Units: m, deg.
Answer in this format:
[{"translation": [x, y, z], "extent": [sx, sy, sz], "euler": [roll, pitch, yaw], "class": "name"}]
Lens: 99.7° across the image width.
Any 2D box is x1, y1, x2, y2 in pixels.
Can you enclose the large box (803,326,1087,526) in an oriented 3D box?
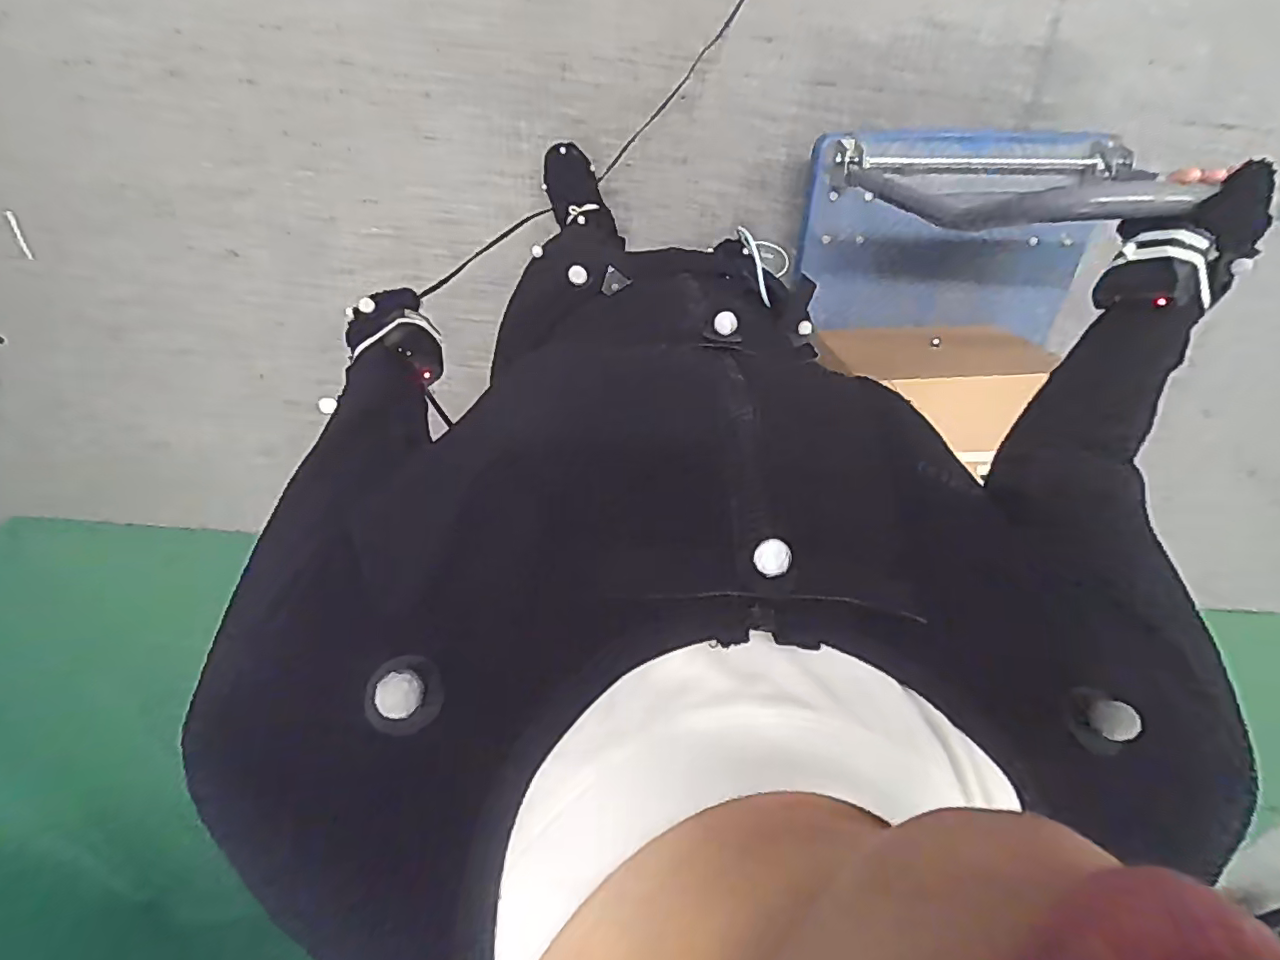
[{"translation": [0.592, -0.126, 1.149], "extent": [0.408, 0.320, 0.320], "euler": [-3, 122, 2], "class": "large box"}]
